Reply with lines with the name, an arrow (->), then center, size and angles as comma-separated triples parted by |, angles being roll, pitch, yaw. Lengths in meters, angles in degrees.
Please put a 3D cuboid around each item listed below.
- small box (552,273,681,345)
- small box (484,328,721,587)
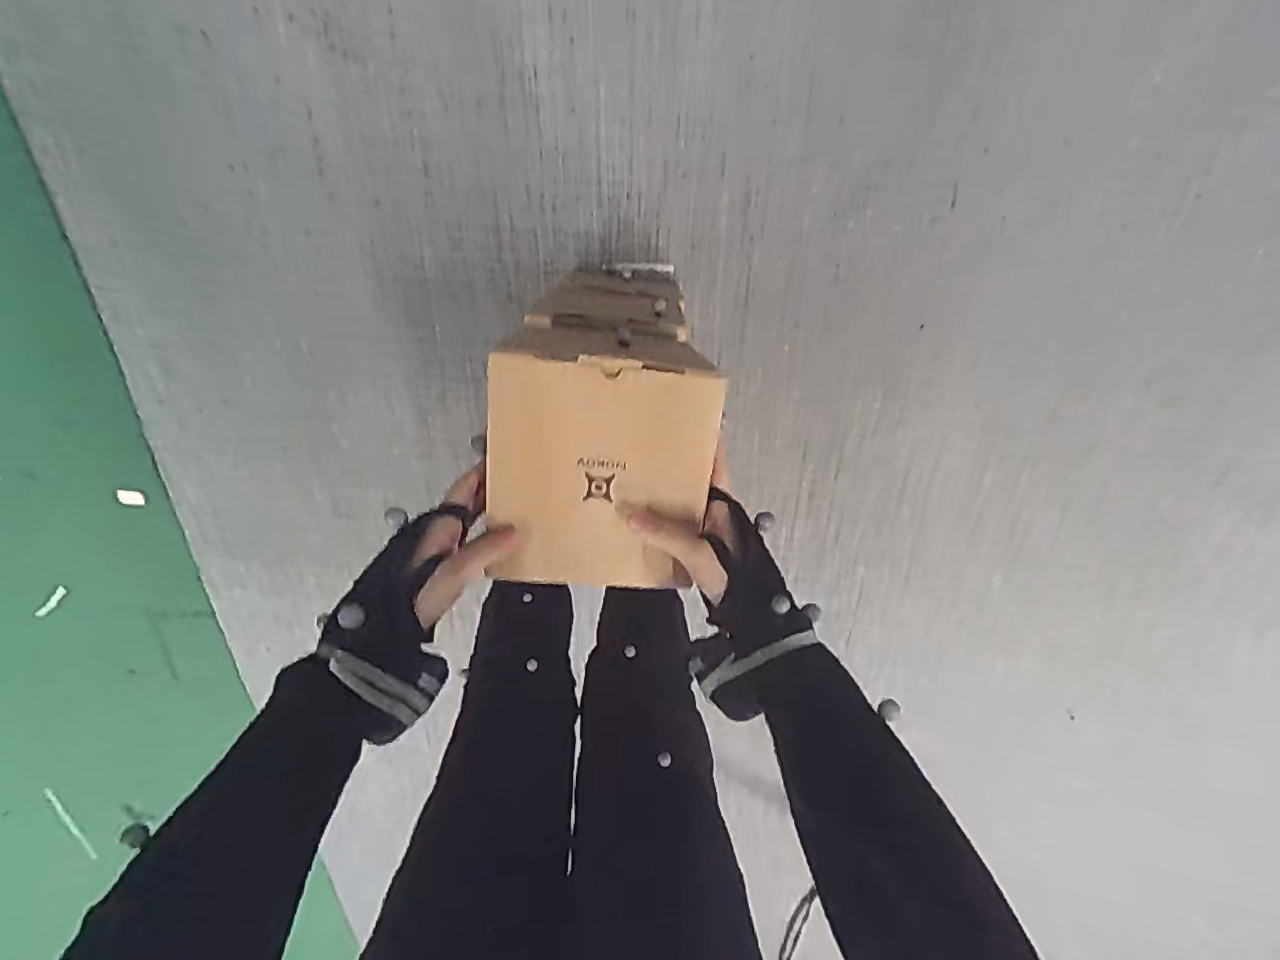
small box -> -0.036, -0.193, 0.793 | 0.168, 0.176, 0.179 | 7, 117, -3
small box -> -0.036, -0.029, 0.480 | 0.168, 0.176, 0.179 | 5, 111, -5
